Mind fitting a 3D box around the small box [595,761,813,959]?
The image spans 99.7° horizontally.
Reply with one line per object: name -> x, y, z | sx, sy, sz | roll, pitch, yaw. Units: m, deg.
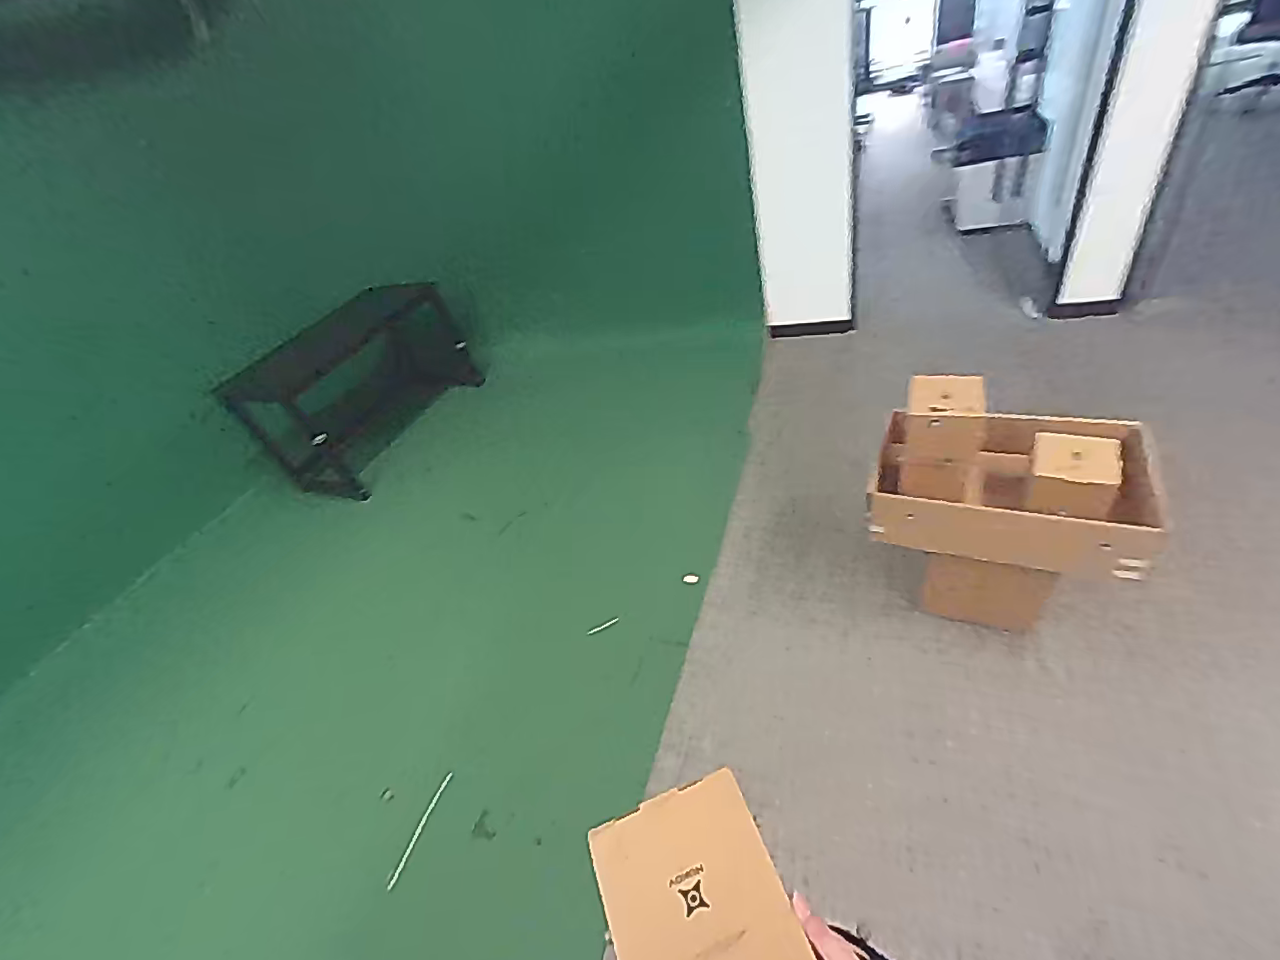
small box -> 0.066, 0.442, 0.580 | 0.168, 0.176, 0.179 | -21, 46, -4

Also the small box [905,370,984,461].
small box -> 0.798, -0.172, 1.422 | 0.168, 0.176, 0.179 | 5, 46, 28

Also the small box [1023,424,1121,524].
small box -> 1.097, -0.017, 1.380 | 0.168, 0.176, 0.179 | 11, 50, 32
